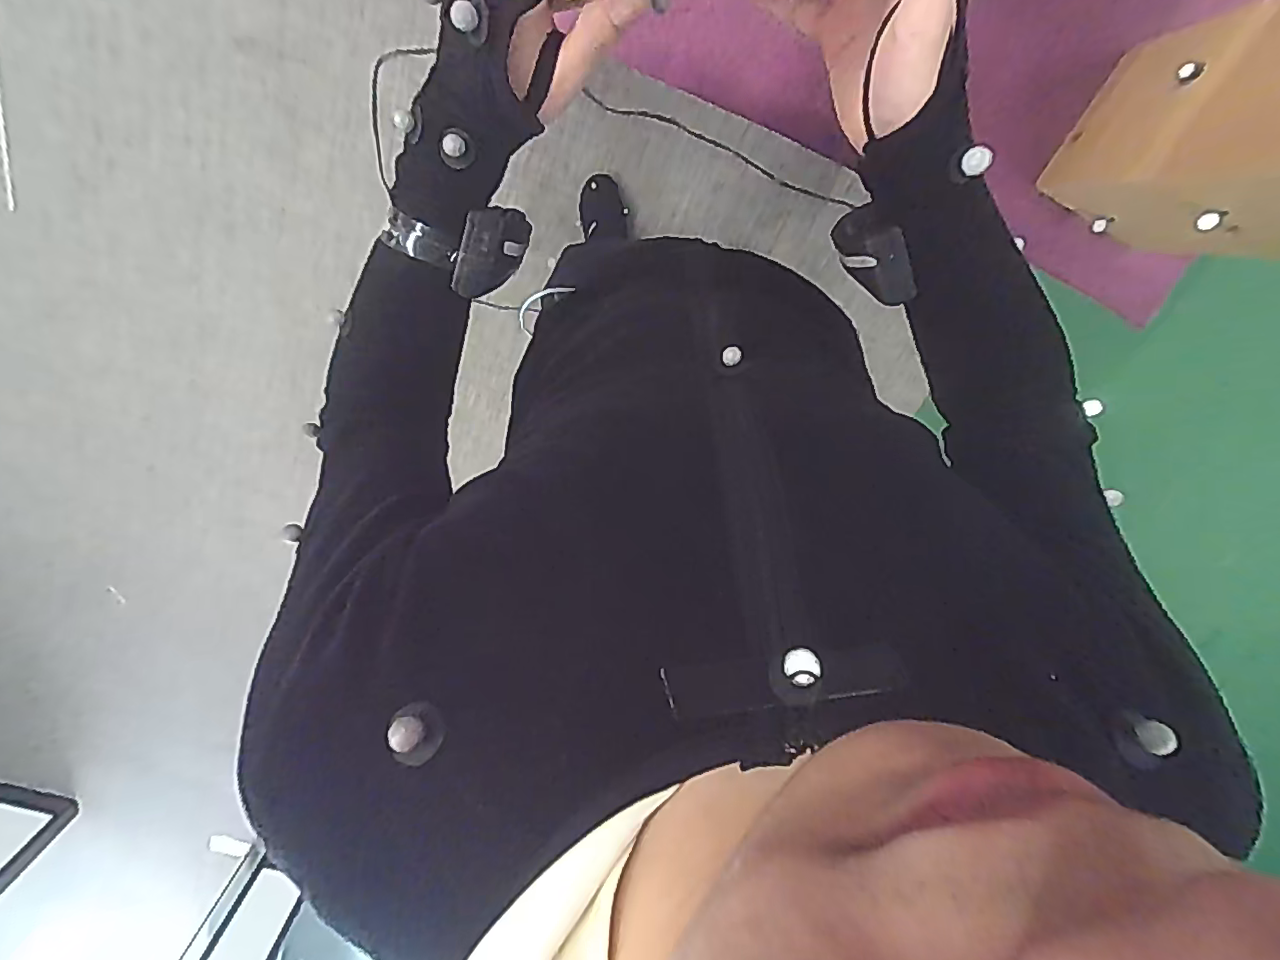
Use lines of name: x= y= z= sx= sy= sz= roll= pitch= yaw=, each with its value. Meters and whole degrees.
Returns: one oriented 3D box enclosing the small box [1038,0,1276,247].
small box: x=0.620 y=-0.387 z=0.611 sx=0.179 sy=0.176 sz=0.168 roll=24 pitch=114 yaw=-10
